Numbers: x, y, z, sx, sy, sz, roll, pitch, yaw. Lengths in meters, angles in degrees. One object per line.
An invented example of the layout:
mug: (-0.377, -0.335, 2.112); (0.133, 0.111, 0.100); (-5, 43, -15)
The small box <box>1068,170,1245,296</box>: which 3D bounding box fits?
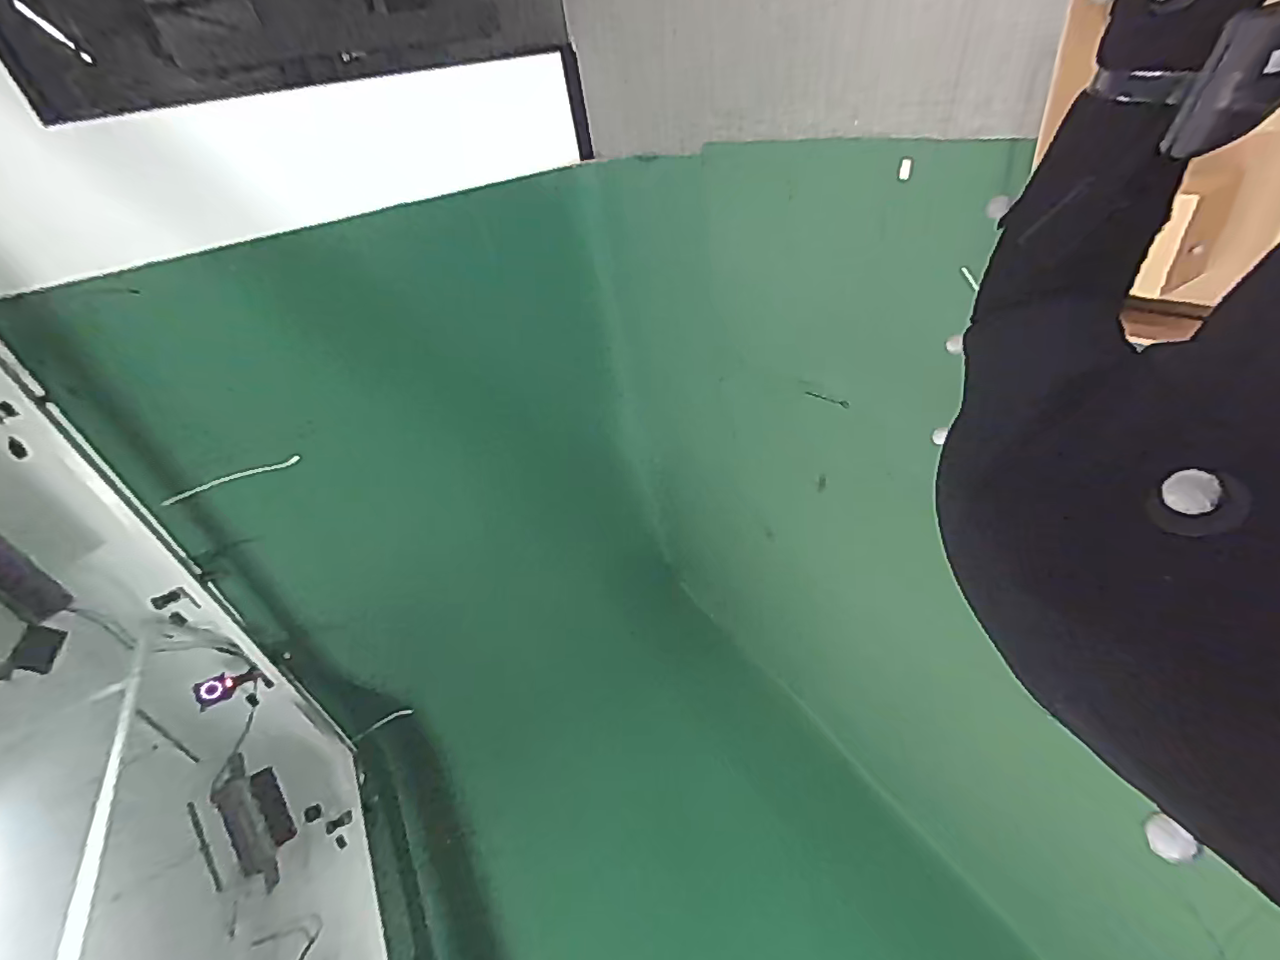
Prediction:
small box: (0.971, -0.471, 1.023); (0.168, 0.176, 0.179); (41, 149, 49)
